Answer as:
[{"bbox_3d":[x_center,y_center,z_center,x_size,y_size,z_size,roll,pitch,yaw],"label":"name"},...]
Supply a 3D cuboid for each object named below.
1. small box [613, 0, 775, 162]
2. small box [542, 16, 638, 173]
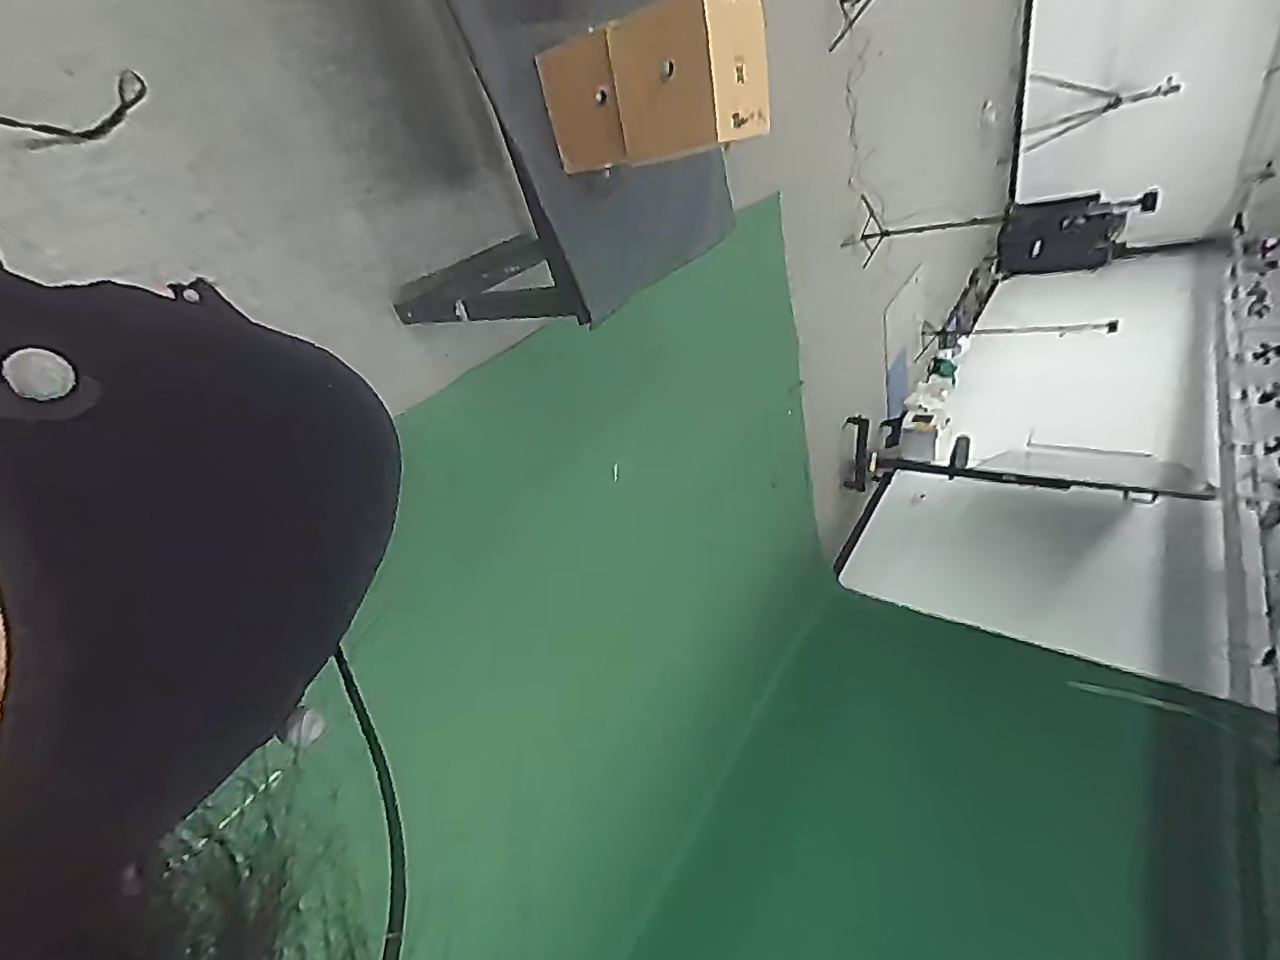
[{"bbox_3d":[0.081,-0.596,0.805,0.168,0.176,0.179,-38,126,-39],"label":"small box"},{"bbox_3d":[-0.038,-0.641,0.910,0.168,0.176,0.179,-41,129,-37],"label":"small box"}]
